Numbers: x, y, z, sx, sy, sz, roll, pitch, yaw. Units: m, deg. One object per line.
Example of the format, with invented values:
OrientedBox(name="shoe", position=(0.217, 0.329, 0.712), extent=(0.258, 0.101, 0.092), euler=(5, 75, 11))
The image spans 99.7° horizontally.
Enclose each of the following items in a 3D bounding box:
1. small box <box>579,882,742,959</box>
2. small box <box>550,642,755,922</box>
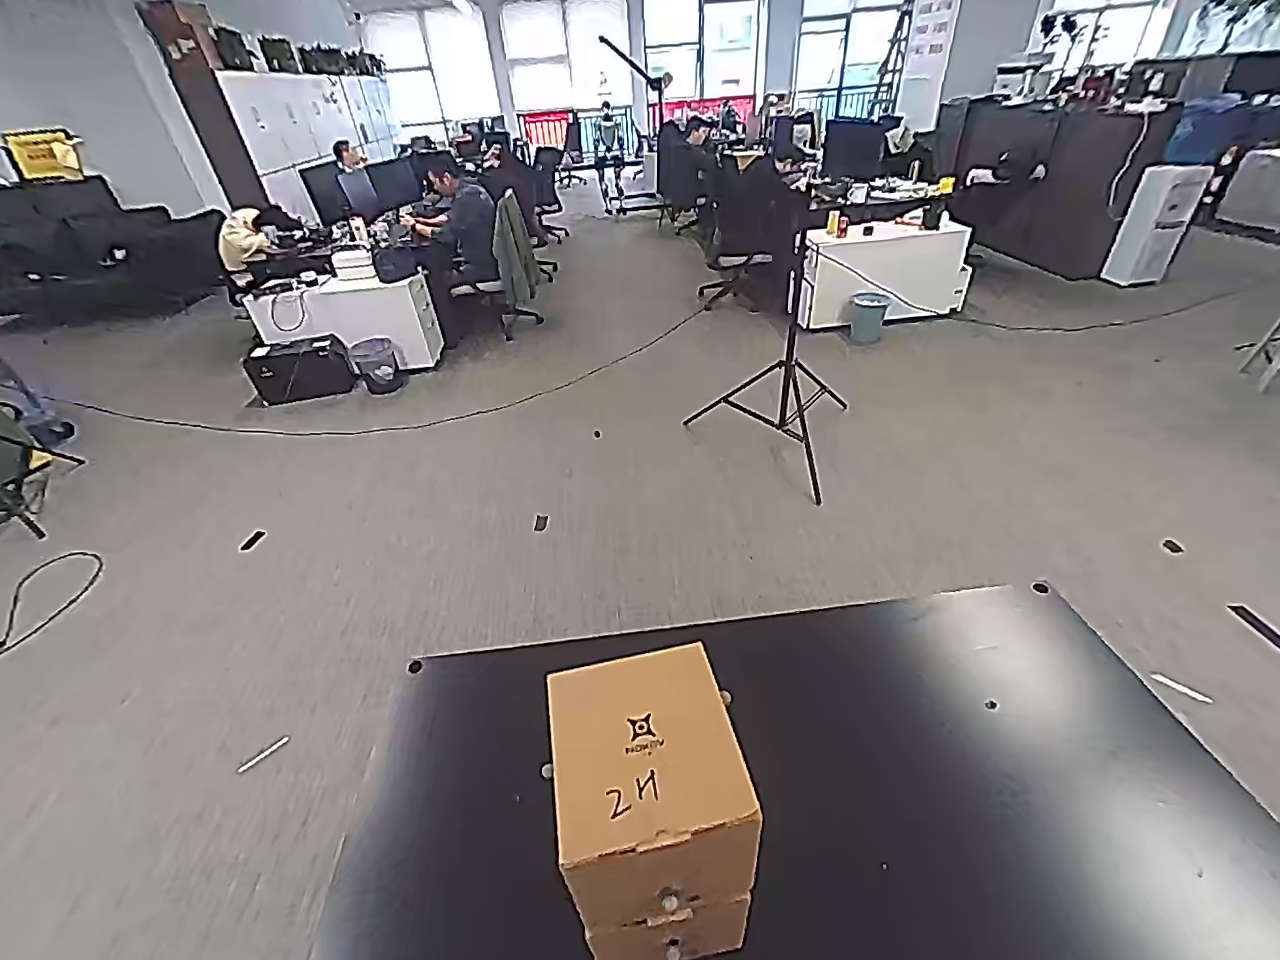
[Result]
OrientedBox(name="small box", position=(0.018, 0.435, 0.642), extent=(0.168, 0.176, 0.179), euler=(-9, 37, -5))
OrientedBox(name="small box", position=(0.006, 0.299, 0.548), extent=(0.168, 0.176, 0.179), euler=(-10, 36, -6))
